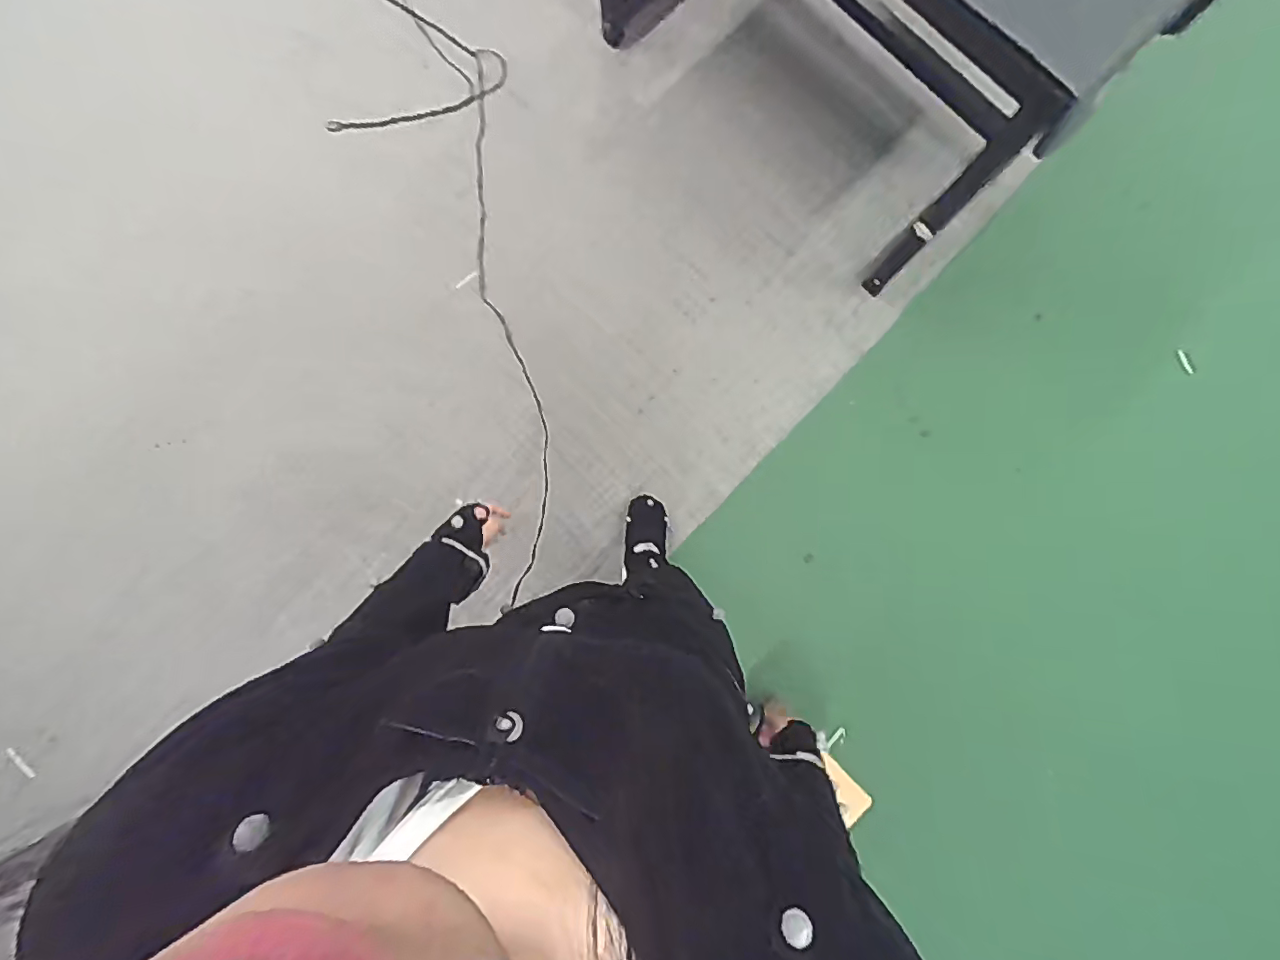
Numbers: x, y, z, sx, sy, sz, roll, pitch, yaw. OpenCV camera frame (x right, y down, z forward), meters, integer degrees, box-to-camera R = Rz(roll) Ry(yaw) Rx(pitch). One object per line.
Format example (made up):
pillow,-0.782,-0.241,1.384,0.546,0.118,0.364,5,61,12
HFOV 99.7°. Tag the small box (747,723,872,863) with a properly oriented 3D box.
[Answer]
small box,0.365,0.677,1.197,0.168,0.176,0.179,-44,86,-4
